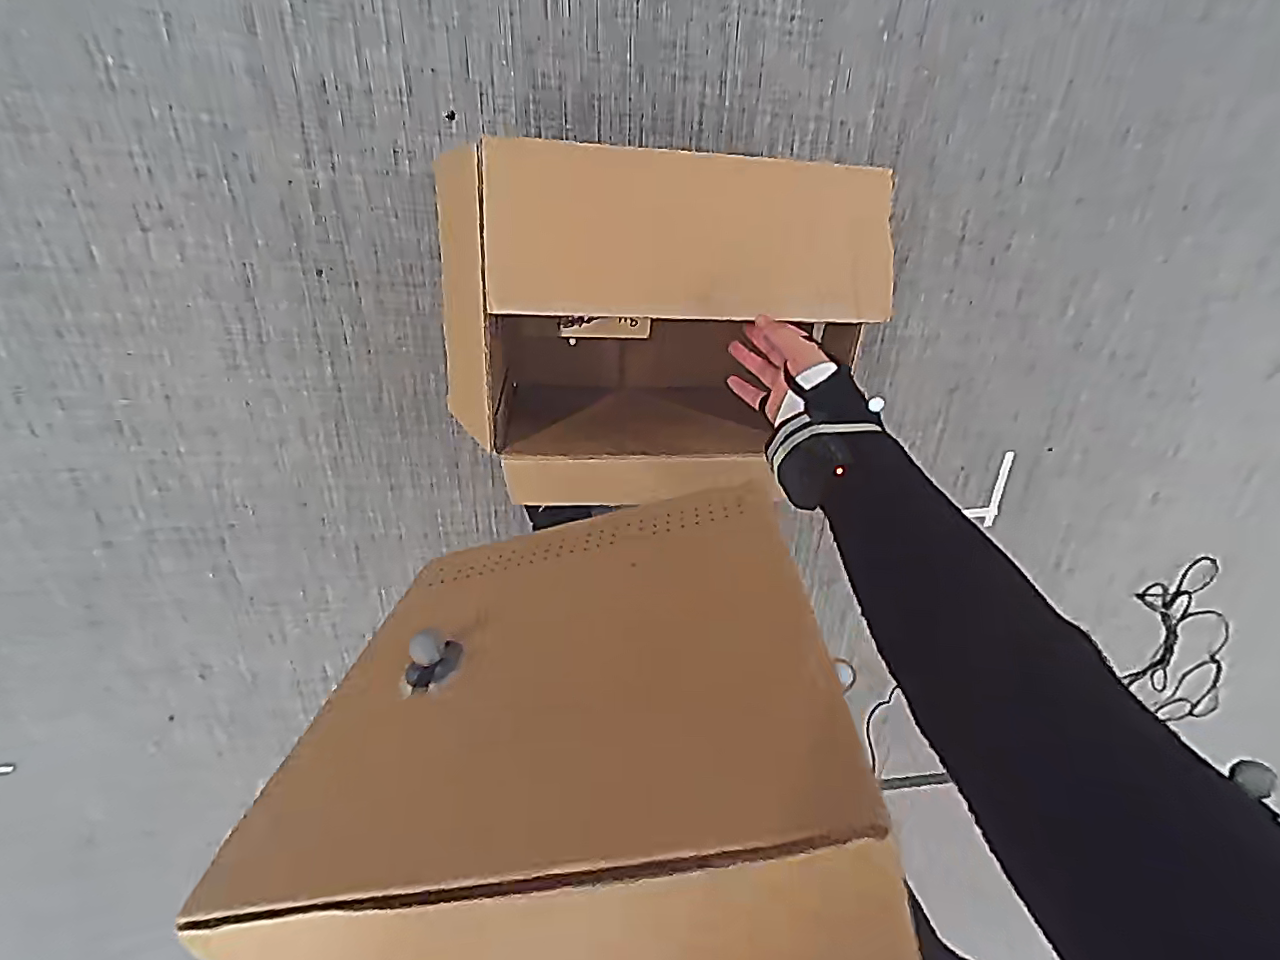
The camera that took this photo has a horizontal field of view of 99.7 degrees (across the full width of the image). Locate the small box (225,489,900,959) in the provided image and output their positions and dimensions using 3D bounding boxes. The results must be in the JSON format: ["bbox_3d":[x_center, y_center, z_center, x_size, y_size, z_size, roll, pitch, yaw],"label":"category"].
[{"bbox_3d":[-0.006,0.126,0.236,0.179,0.176,0.168,-16,114,9],"label":"small box"}]
